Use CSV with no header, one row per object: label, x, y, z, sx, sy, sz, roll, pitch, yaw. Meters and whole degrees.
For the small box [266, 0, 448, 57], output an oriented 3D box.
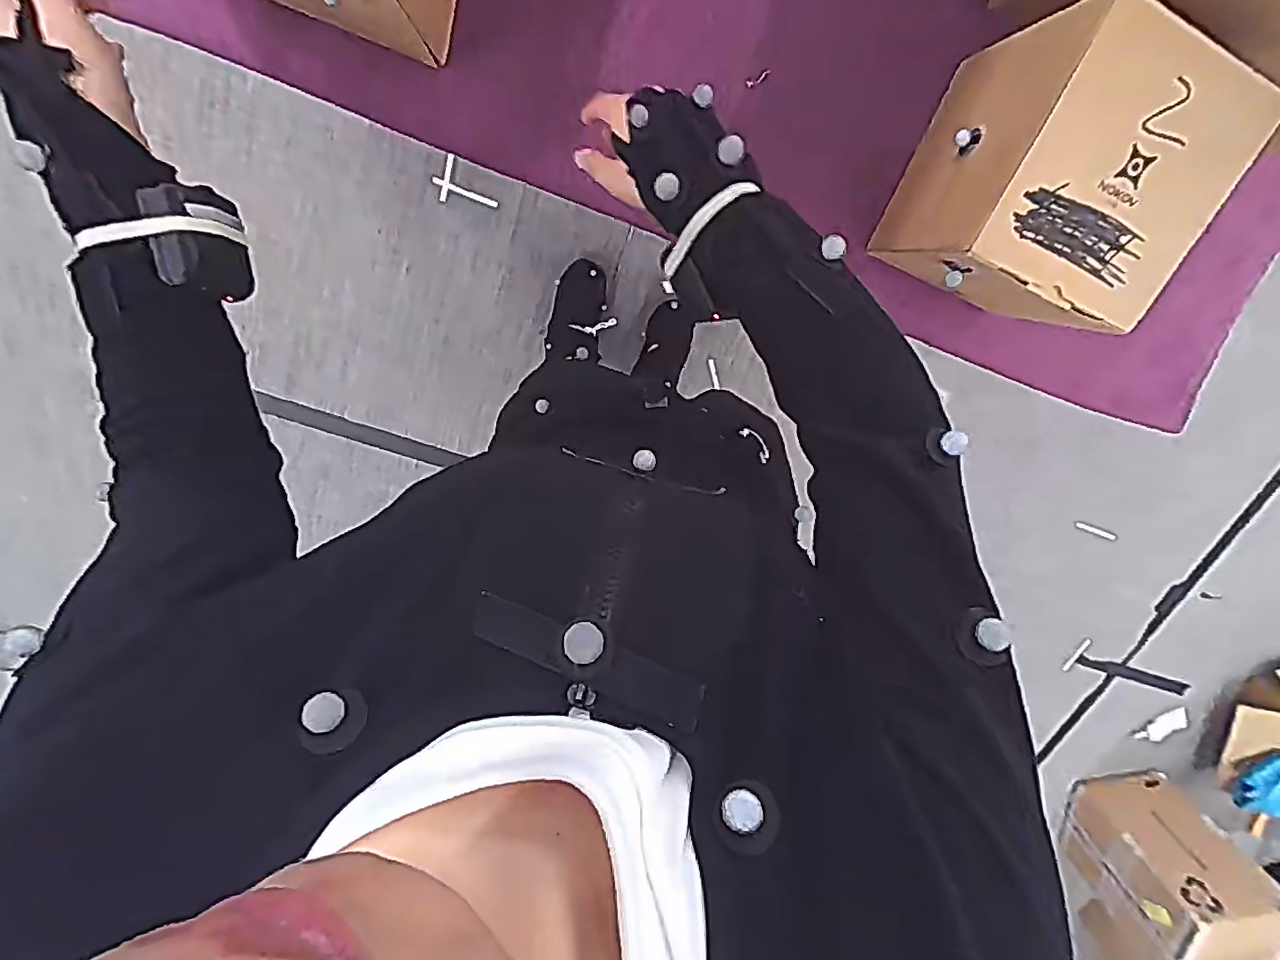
small box,-0.220,-0.414,0.344,0.179,0.176,0.168,13,111,-15
